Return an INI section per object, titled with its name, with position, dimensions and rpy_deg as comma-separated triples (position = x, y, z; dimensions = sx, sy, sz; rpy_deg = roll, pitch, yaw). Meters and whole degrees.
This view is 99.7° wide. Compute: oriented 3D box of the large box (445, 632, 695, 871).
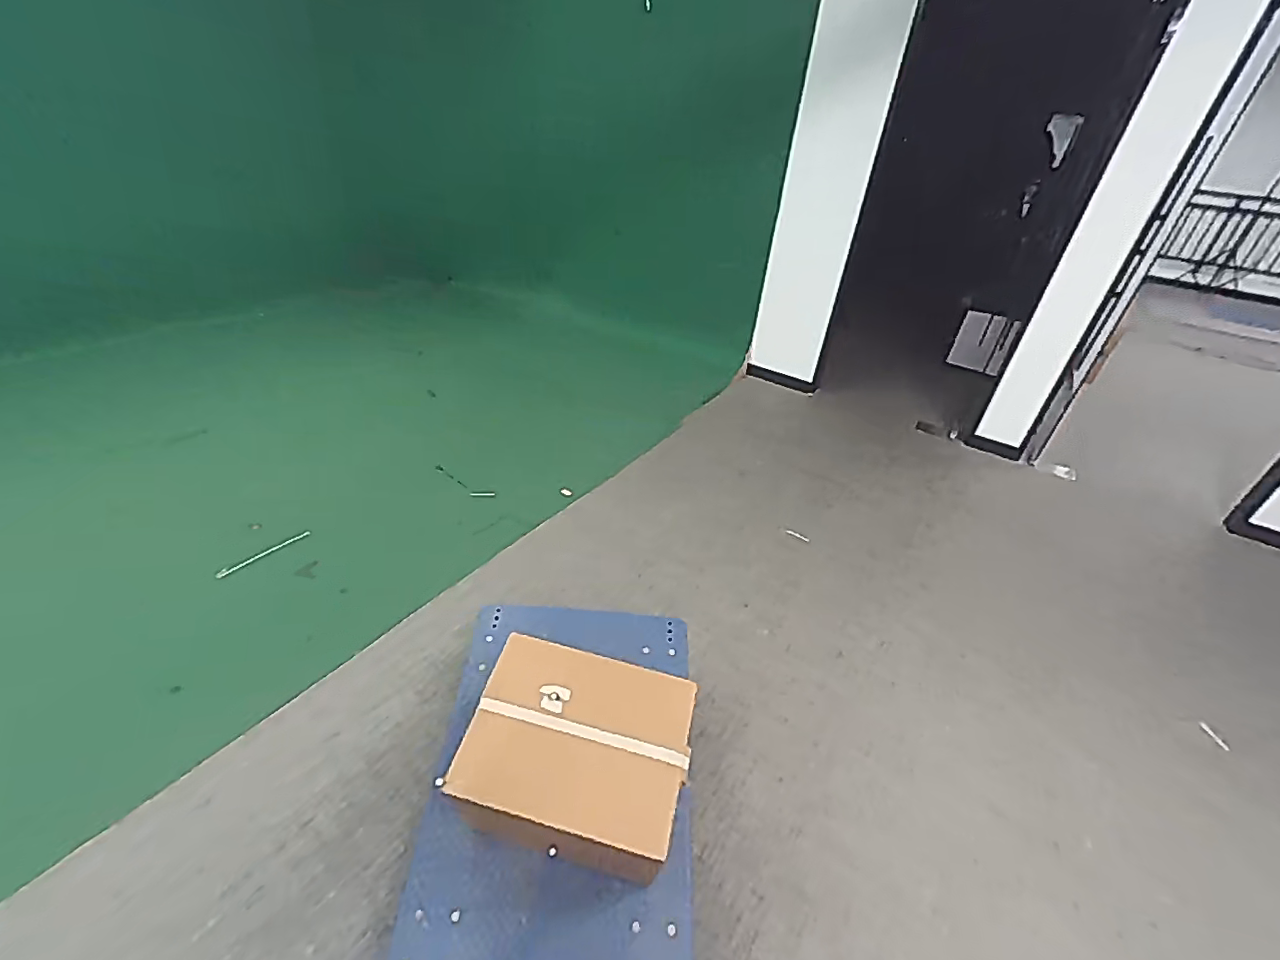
[large box]
position = -0.121, 0.568, 1.131
dimensions = 0.408, 0.320, 0.320
rpy_deg = 13, 48, 8
